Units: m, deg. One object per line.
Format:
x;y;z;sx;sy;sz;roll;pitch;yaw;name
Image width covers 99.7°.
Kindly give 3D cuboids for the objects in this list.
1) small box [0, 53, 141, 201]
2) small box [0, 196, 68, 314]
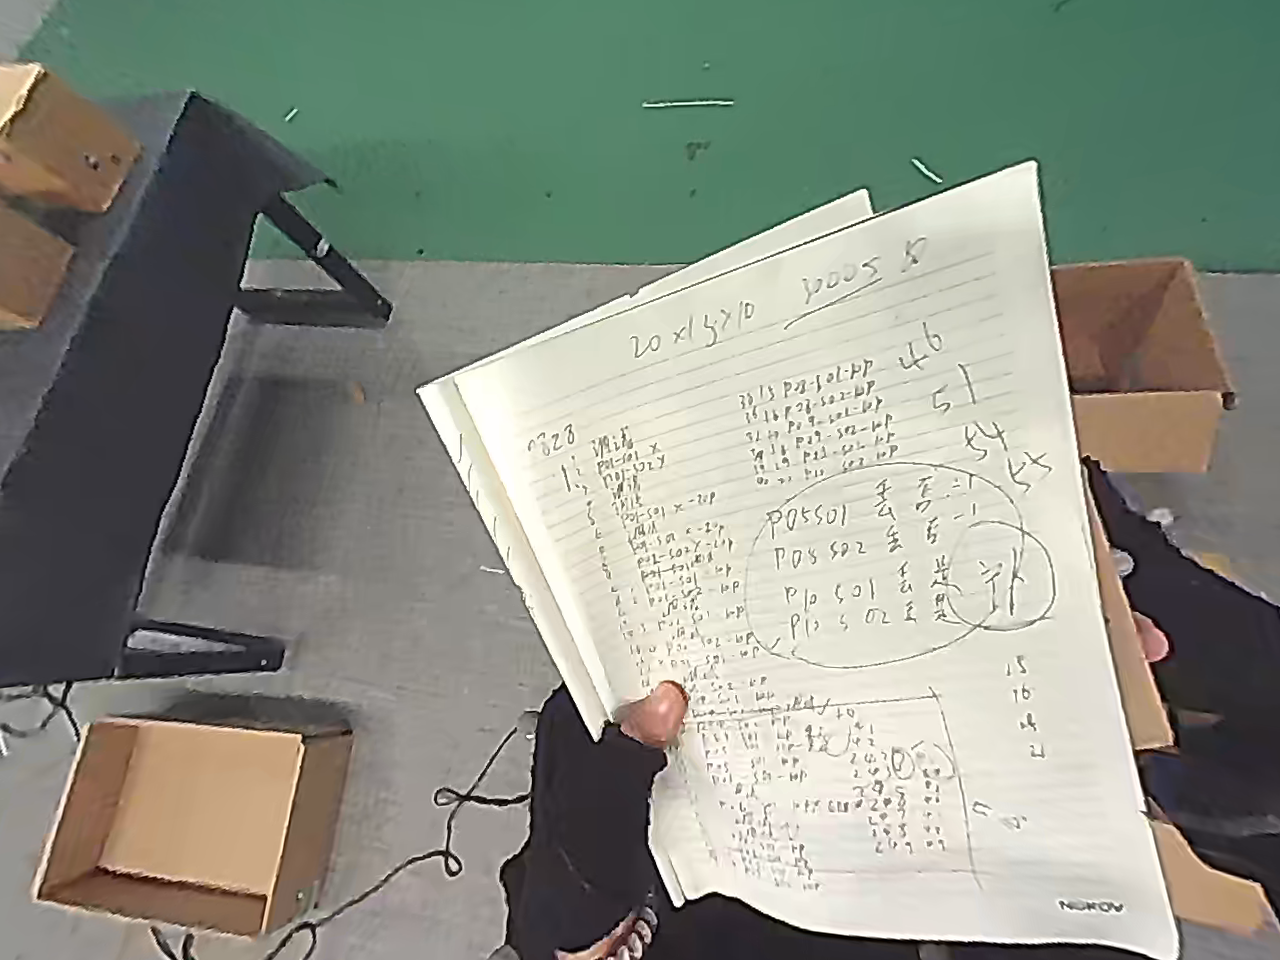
-1.112;-0.651;1.010;0.179;0.176;0.168;9;74;12;small box
-1.172;-0.406;0.938;0.168;0.176;0.179;3;72;10;small box
